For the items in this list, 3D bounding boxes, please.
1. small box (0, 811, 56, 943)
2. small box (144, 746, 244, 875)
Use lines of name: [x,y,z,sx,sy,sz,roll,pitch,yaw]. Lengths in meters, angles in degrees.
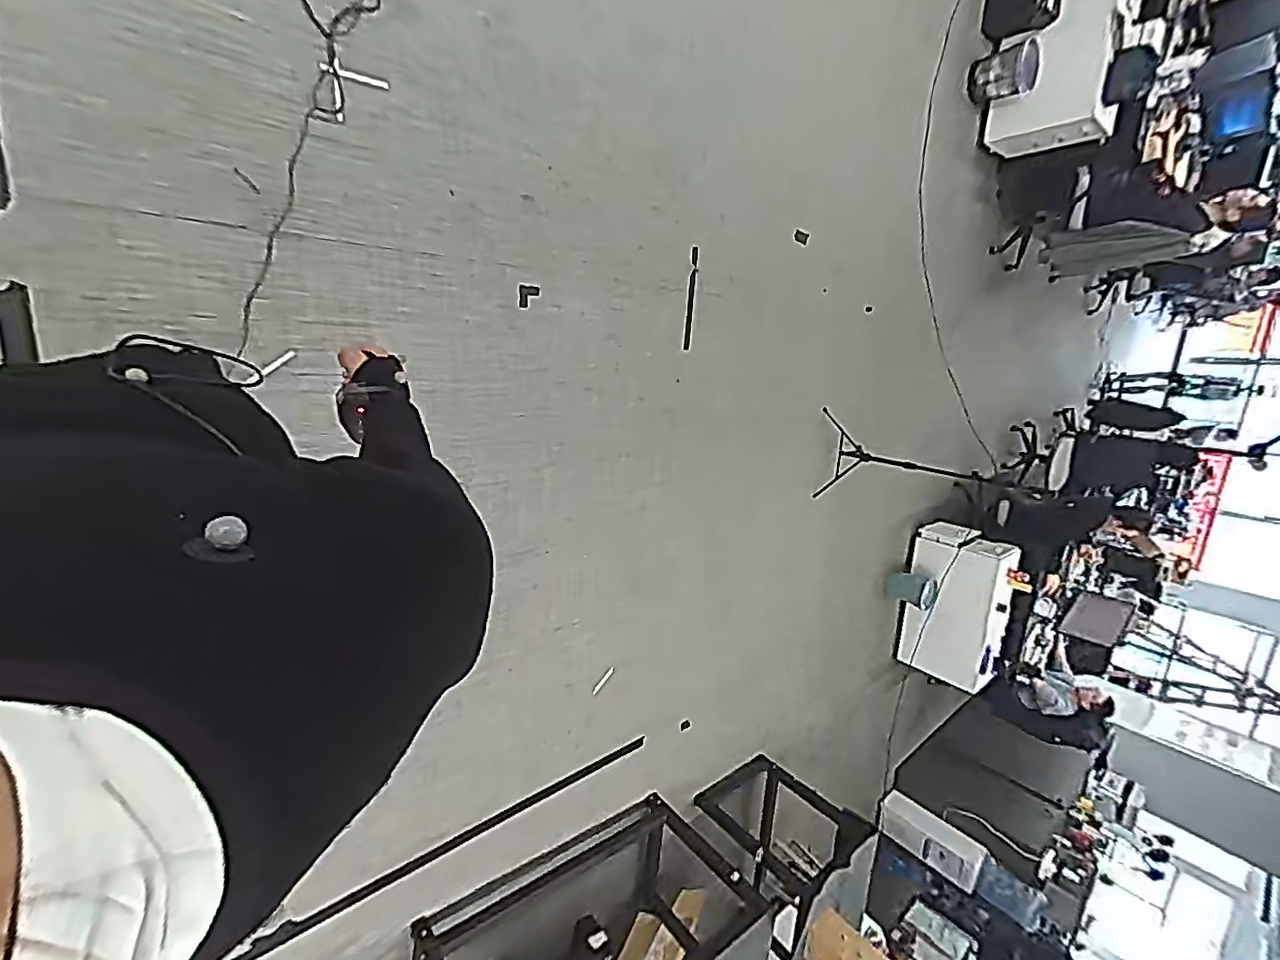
small box: [-1.368,0.848,1.127,0.168,0.176,0.179,-14,110,-38]
small box: [-1.099,0.806,1.337,0.168,0.176,0.179,-11,108,-39]
